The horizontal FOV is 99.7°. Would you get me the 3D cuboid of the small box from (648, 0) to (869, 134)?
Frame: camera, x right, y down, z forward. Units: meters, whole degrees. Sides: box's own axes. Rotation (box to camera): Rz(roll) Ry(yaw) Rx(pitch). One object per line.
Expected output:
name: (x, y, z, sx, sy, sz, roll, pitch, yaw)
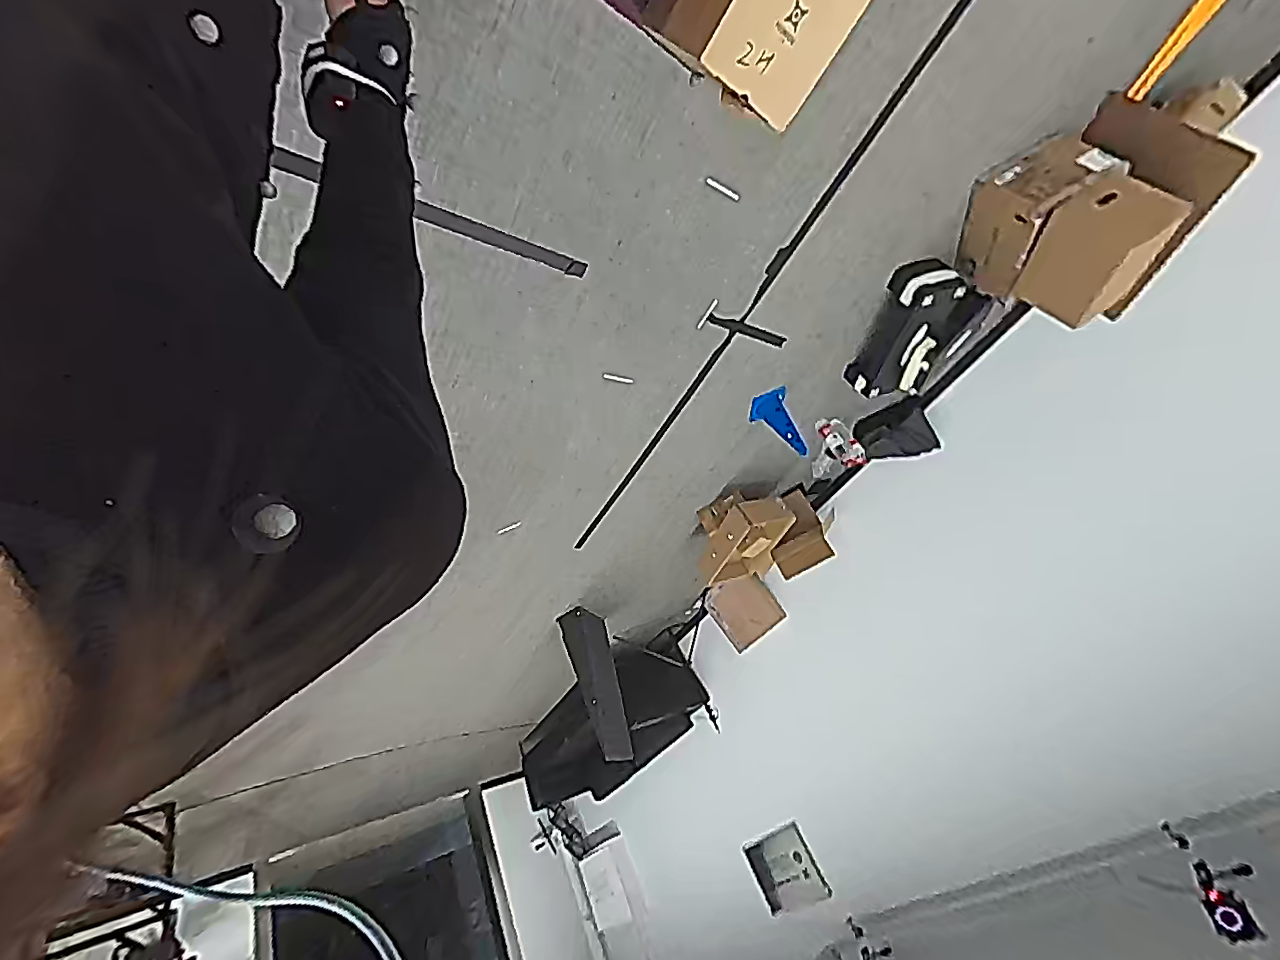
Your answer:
small box: (0.136, -0.577, 0.657, 0.168, 0.176, 0.179, 6, 133, -41)
